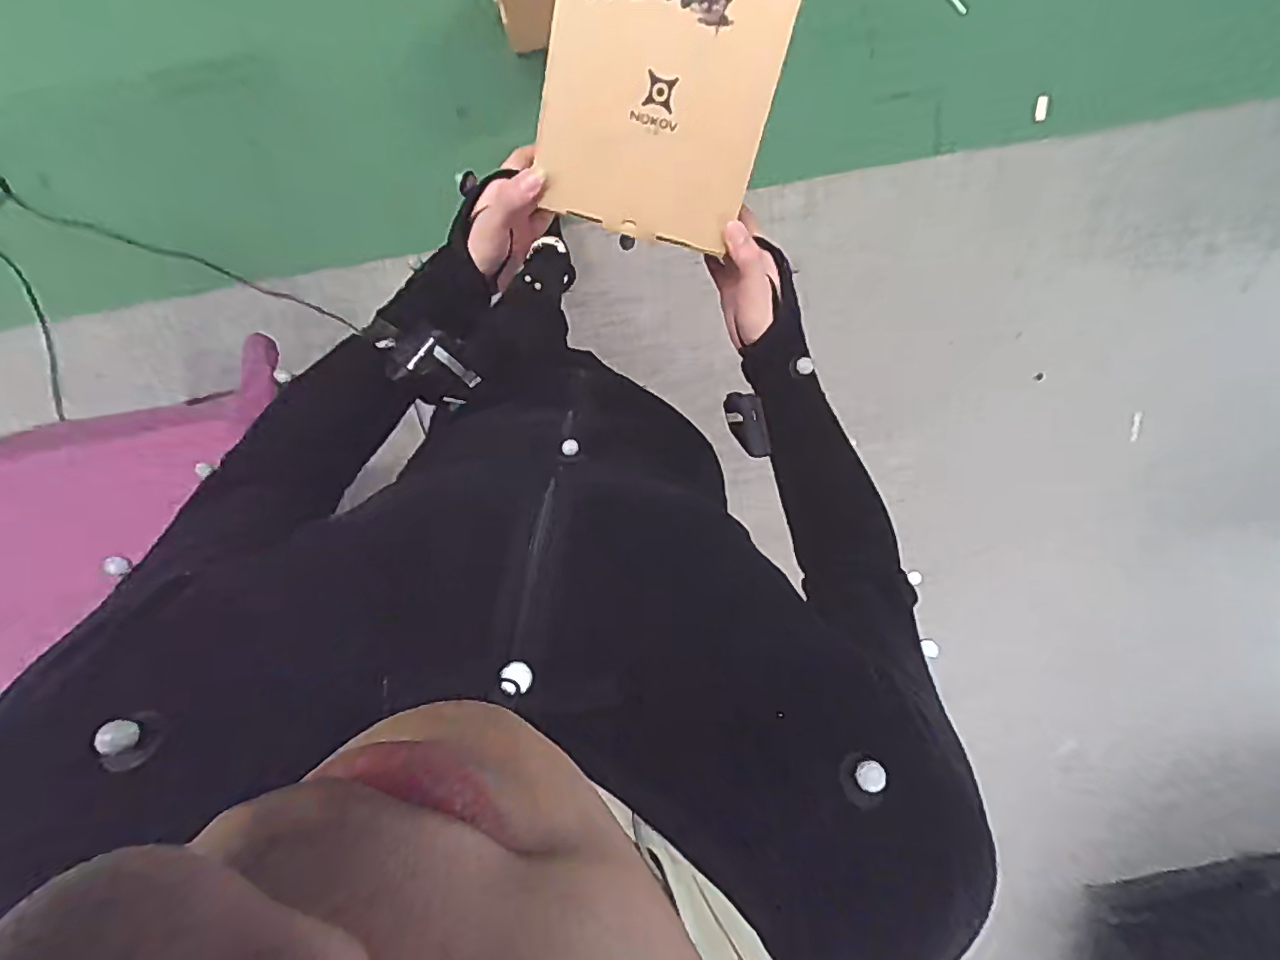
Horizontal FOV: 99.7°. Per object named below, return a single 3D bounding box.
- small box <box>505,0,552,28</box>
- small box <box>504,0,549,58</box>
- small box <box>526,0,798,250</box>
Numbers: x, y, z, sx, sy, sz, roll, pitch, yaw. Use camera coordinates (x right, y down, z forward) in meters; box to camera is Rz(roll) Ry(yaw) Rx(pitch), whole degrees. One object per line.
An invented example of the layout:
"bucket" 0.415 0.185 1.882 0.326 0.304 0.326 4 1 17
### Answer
"small box" -0.182 -0.986 1.004 0.179 0.176 0.168 -13 112 2
"small box" -0.202 -1.040 1.156 0.179 0.176 0.168 -11 111 -1
"small box" 0.010 -0.315 0.465 0.168 0.176 0.179 13 115 -7
